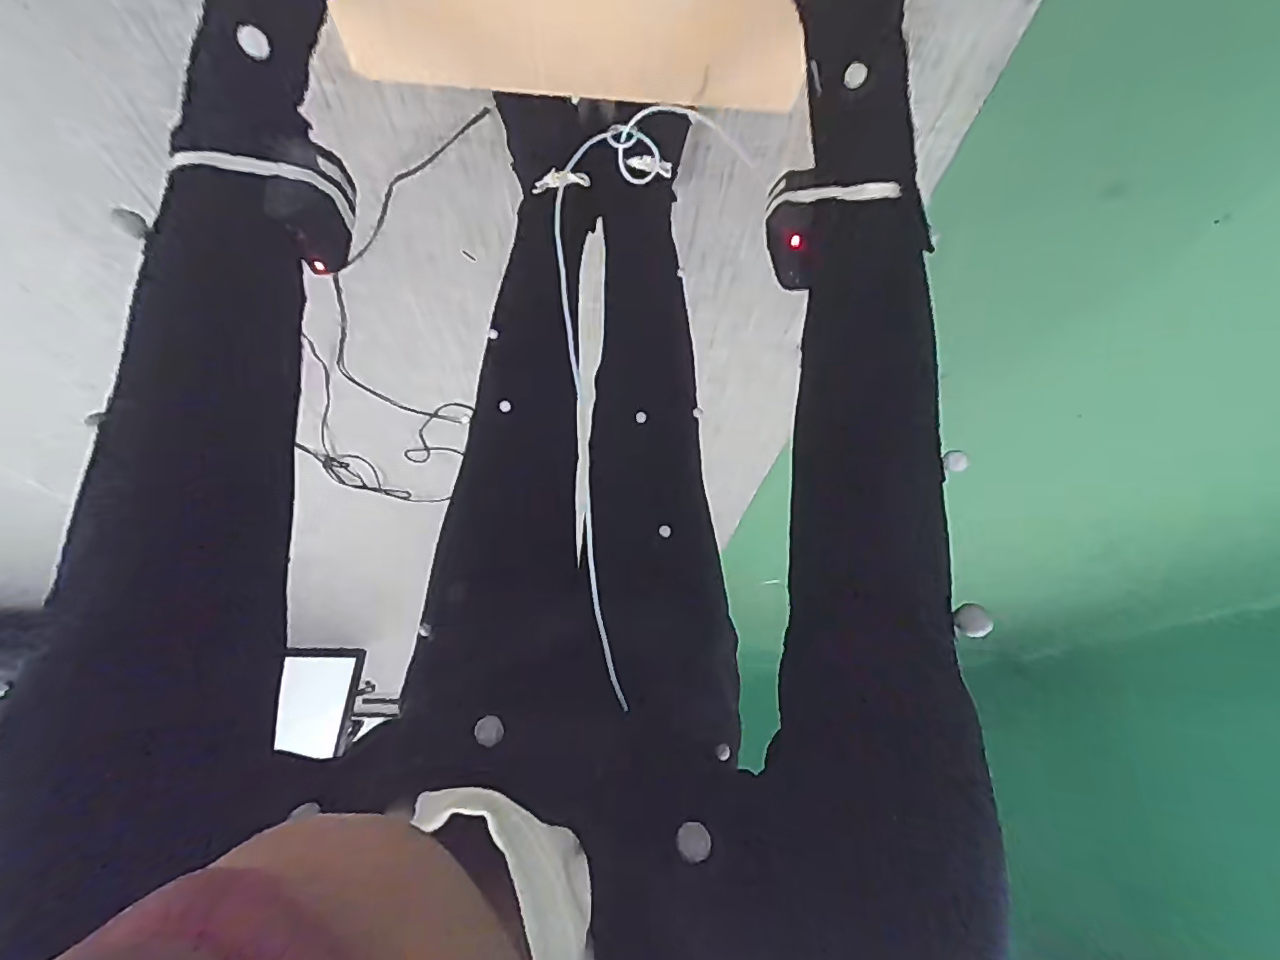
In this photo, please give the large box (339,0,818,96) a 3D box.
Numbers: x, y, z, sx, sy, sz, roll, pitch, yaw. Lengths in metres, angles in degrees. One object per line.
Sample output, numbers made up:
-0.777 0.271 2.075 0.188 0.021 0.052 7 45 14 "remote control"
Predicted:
-0.047 -0.568 0.435 0.408 0.320 0.320 1 154 -4 "large box"
